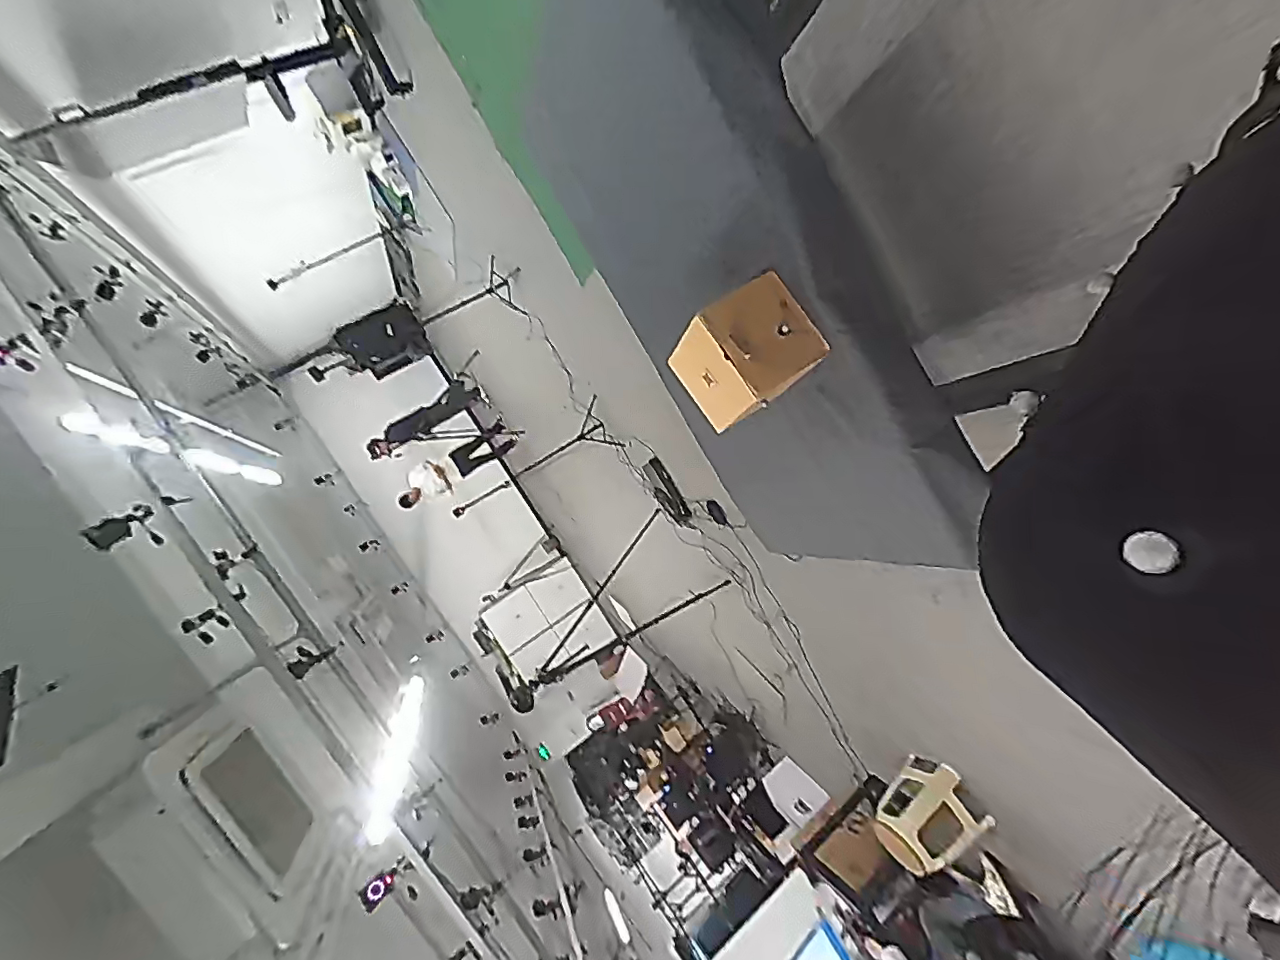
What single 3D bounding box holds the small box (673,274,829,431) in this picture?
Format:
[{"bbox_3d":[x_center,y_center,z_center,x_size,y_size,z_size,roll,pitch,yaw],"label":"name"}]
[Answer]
[{"bbox_3d":[0.187,-0.215,0.931,0.168,0.176,0.179,55,162,5],"label":"small box"}]
